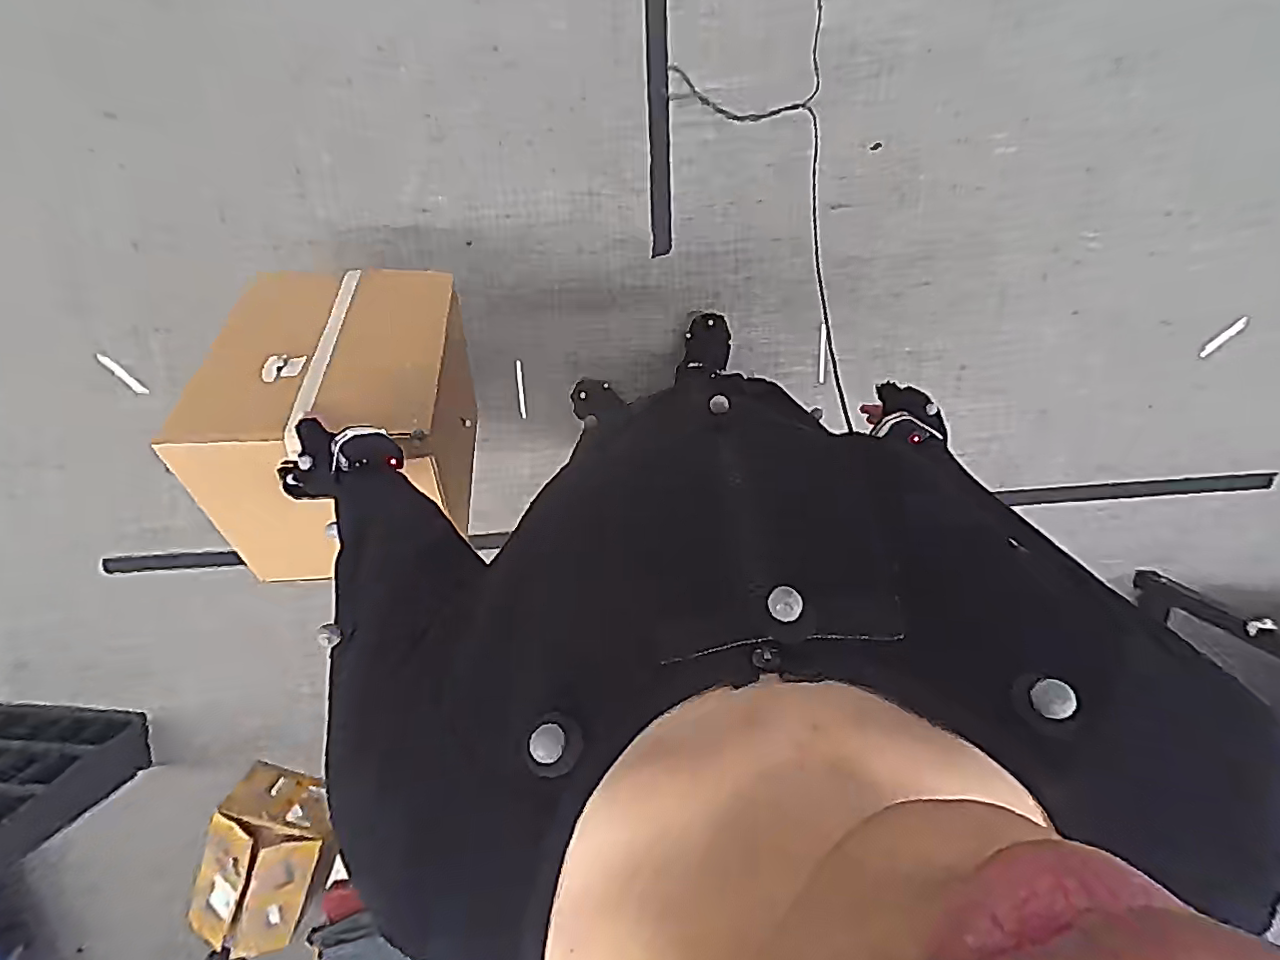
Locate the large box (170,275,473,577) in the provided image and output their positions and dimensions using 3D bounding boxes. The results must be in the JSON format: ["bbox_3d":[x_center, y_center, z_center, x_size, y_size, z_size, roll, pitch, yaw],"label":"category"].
[{"bbox_3d":[-0.460,-0.095,0.906,0.320,0.408,0.320,-3,140,-9],"label":"large box"}]
